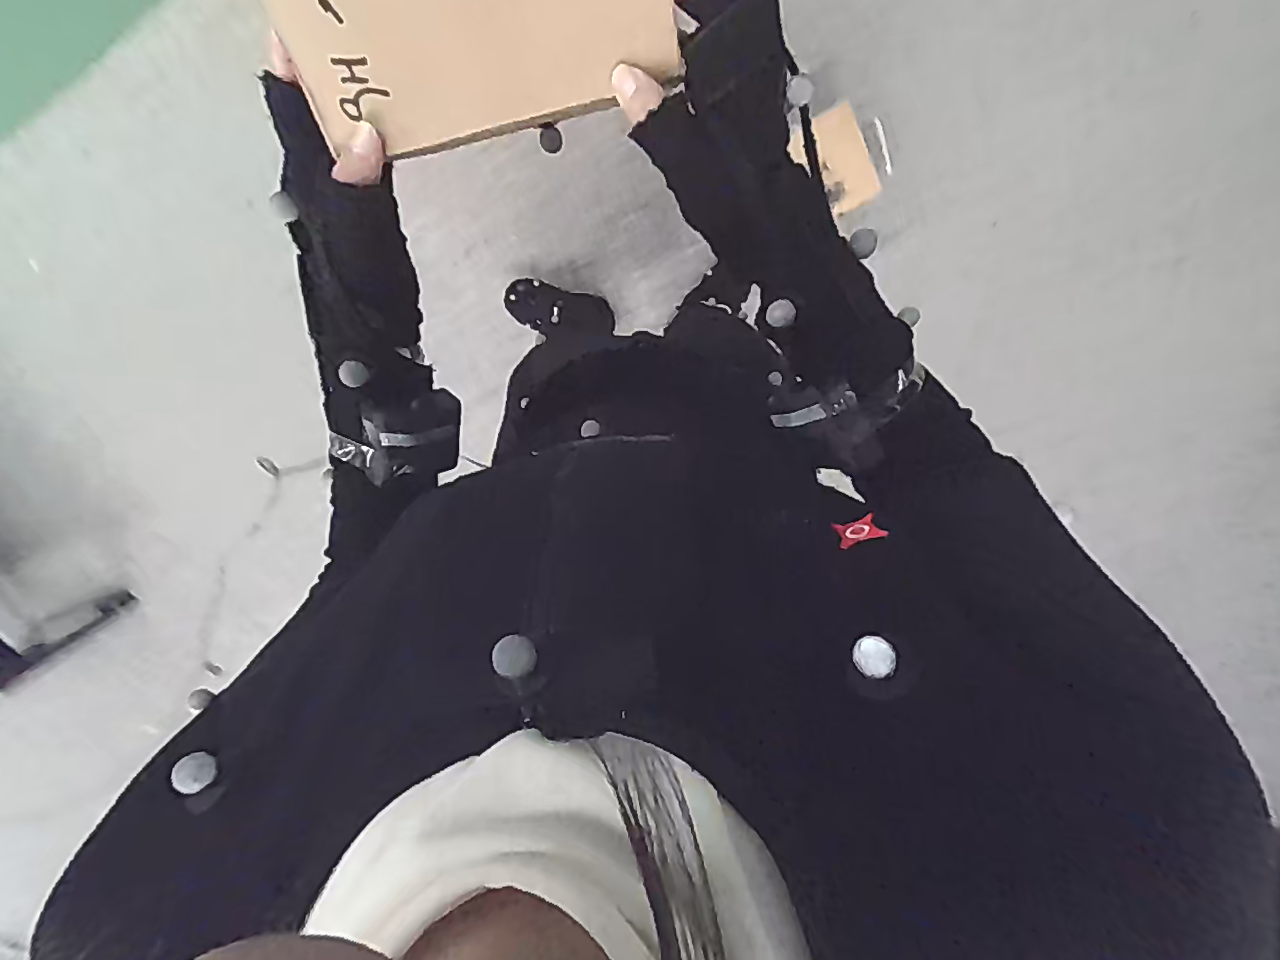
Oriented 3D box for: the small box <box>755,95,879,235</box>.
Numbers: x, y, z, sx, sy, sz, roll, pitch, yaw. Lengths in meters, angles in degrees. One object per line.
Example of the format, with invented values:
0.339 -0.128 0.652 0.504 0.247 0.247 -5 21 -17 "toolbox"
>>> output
0.346 -0.620 1.081 0.168 0.176 0.179 -29 110 19 "small box"
